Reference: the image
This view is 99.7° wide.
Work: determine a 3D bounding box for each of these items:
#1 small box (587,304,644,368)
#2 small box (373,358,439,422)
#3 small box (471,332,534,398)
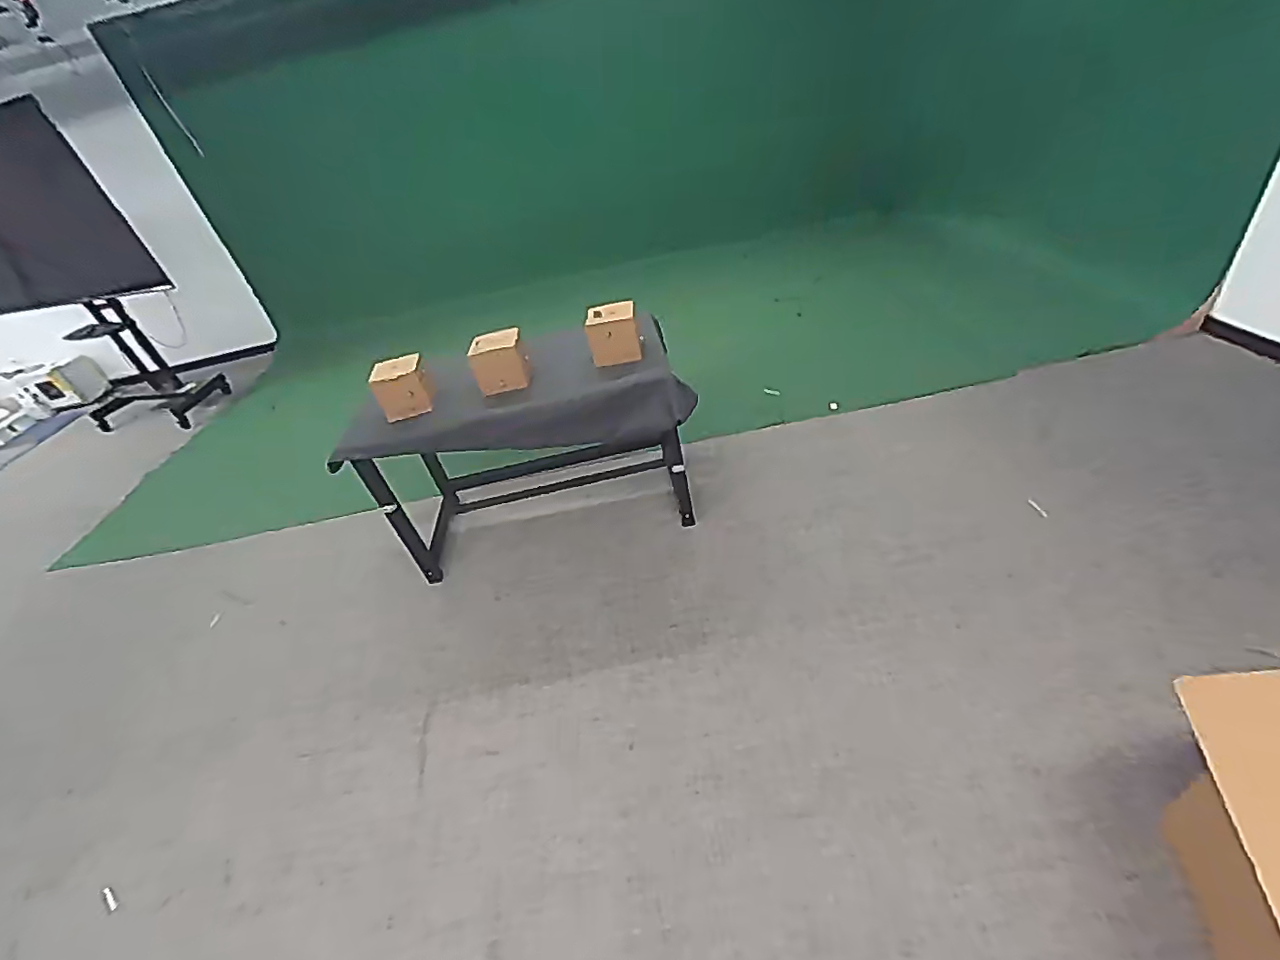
[{"bbox_3d":[-0.087,-0.532,2.014,0.179,0.176,0.168,-8,38,7],"label":"small box"},{"bbox_3d":[-0.862,-0.329,2.010,0.168,0.176,0.179,-16,35,-5],"label":"small box"},{"bbox_3d":[-0.506,-0.428,2.021,0.179,0.176,0.168,-10,37,4],"label":"small box"}]
